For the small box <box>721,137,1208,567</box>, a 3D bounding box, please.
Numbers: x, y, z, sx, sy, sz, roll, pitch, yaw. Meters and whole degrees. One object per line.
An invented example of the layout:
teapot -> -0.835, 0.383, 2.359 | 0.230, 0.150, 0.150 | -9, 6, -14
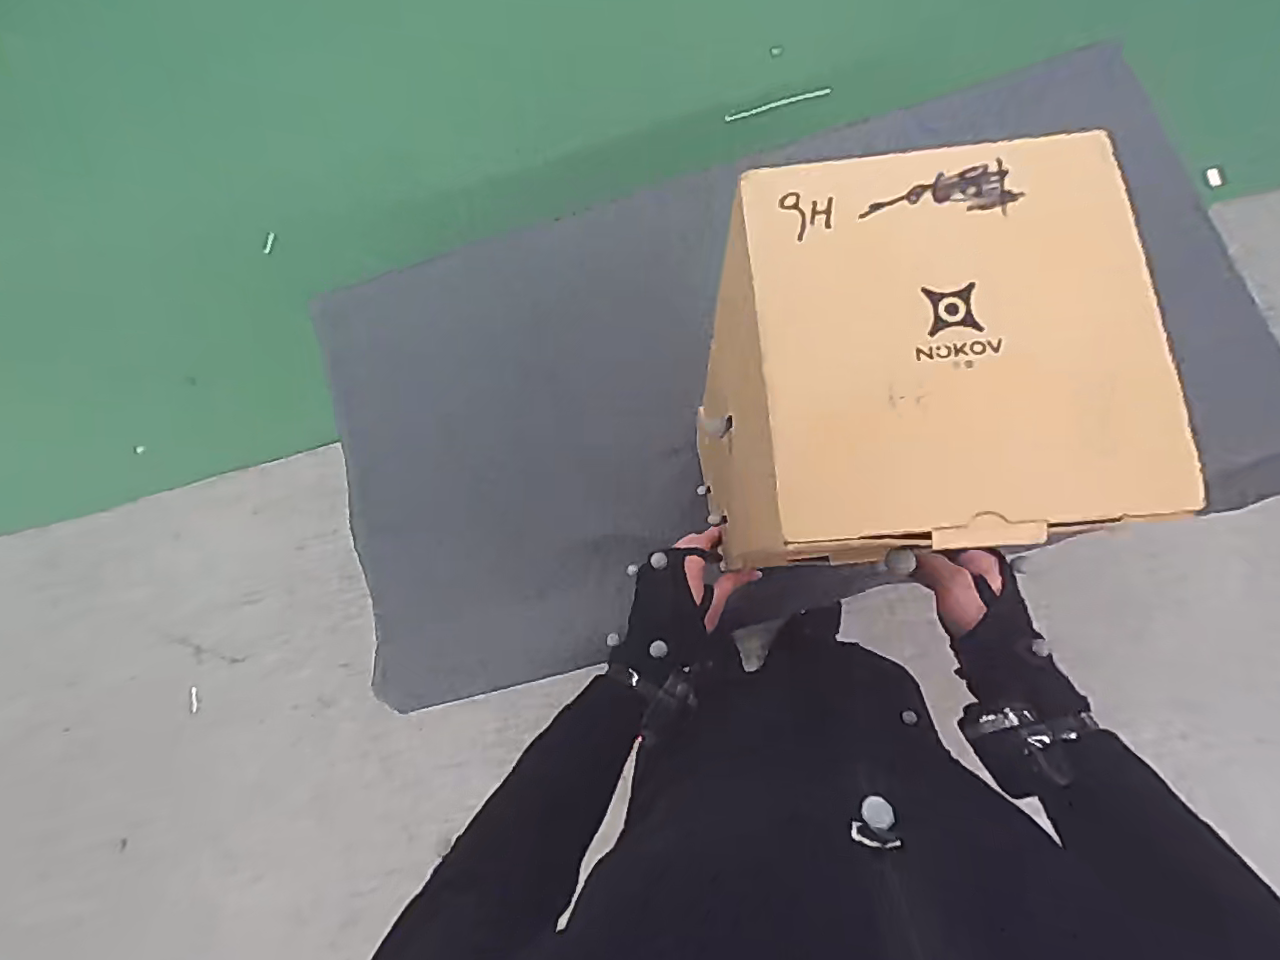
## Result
small box -> 0.140, -0.046, 0.307 | 0.168, 0.176, 0.179 | -5, 80, 3

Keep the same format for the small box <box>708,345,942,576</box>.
small box -> 0.152, -0.013, 0.467 | 0.168, 0.176, 0.179 | -8, 78, 3
